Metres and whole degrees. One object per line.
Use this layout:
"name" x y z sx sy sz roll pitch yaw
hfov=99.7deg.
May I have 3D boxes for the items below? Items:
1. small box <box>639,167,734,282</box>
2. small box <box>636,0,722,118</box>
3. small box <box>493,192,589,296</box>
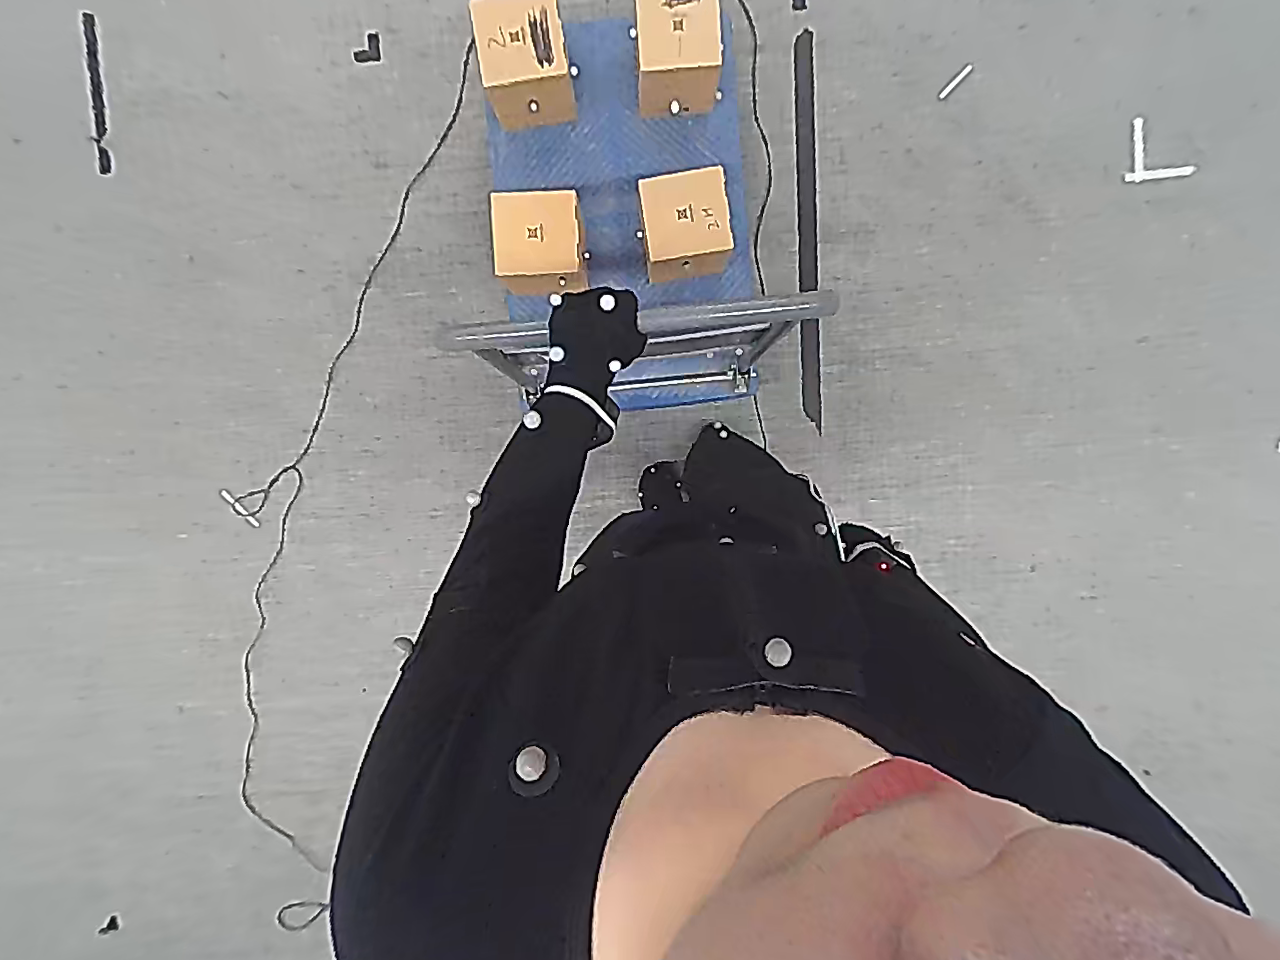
"small box" 0.097 -0.543 1.174 0.179 0.176 0.168 -9 95 2
"small box" 0.077 -0.907 1.141 0.168 0.176 0.179 -4 96 1
"small box" -0.210 -0.506 1.180 0.179 0.176 0.168 -3 95 -1
